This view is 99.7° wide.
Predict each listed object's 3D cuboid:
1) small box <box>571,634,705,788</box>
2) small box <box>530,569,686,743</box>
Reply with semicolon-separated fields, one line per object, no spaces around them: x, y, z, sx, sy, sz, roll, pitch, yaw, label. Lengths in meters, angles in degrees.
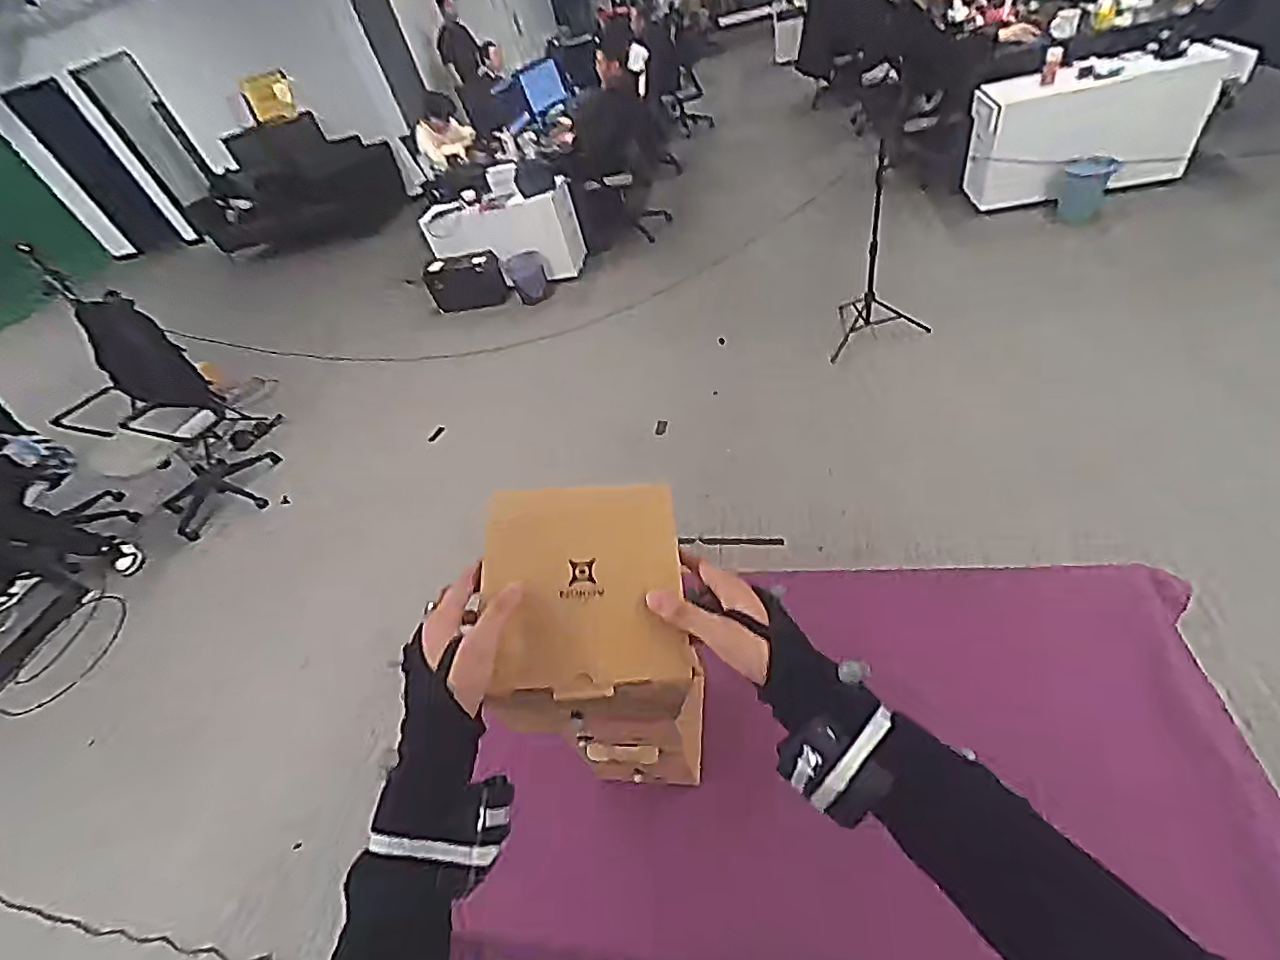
0.008;0.361;0.854;0.168;0.176;0.179;-4;45;15;small box
-0.030;0.247;0.741;0.168;0.176;0.179;-7;44;11;small box
